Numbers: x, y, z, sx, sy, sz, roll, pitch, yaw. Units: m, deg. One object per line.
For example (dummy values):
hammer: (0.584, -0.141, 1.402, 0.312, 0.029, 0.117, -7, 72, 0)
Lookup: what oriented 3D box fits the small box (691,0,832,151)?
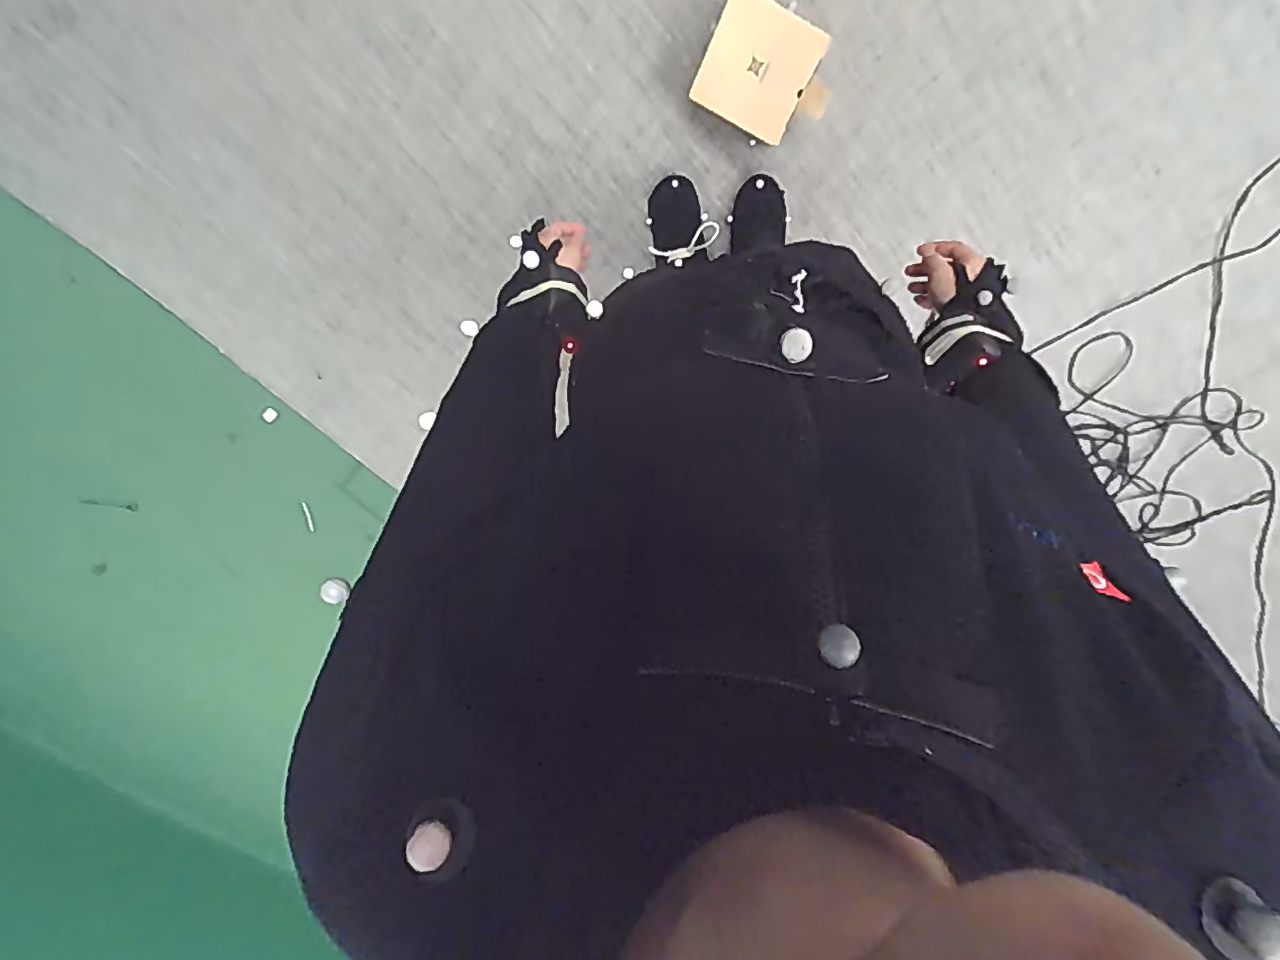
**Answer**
small box: (0.204, -0.707, 0.954, 0.179, 0.176, 0.168, 24, 122, -8)
